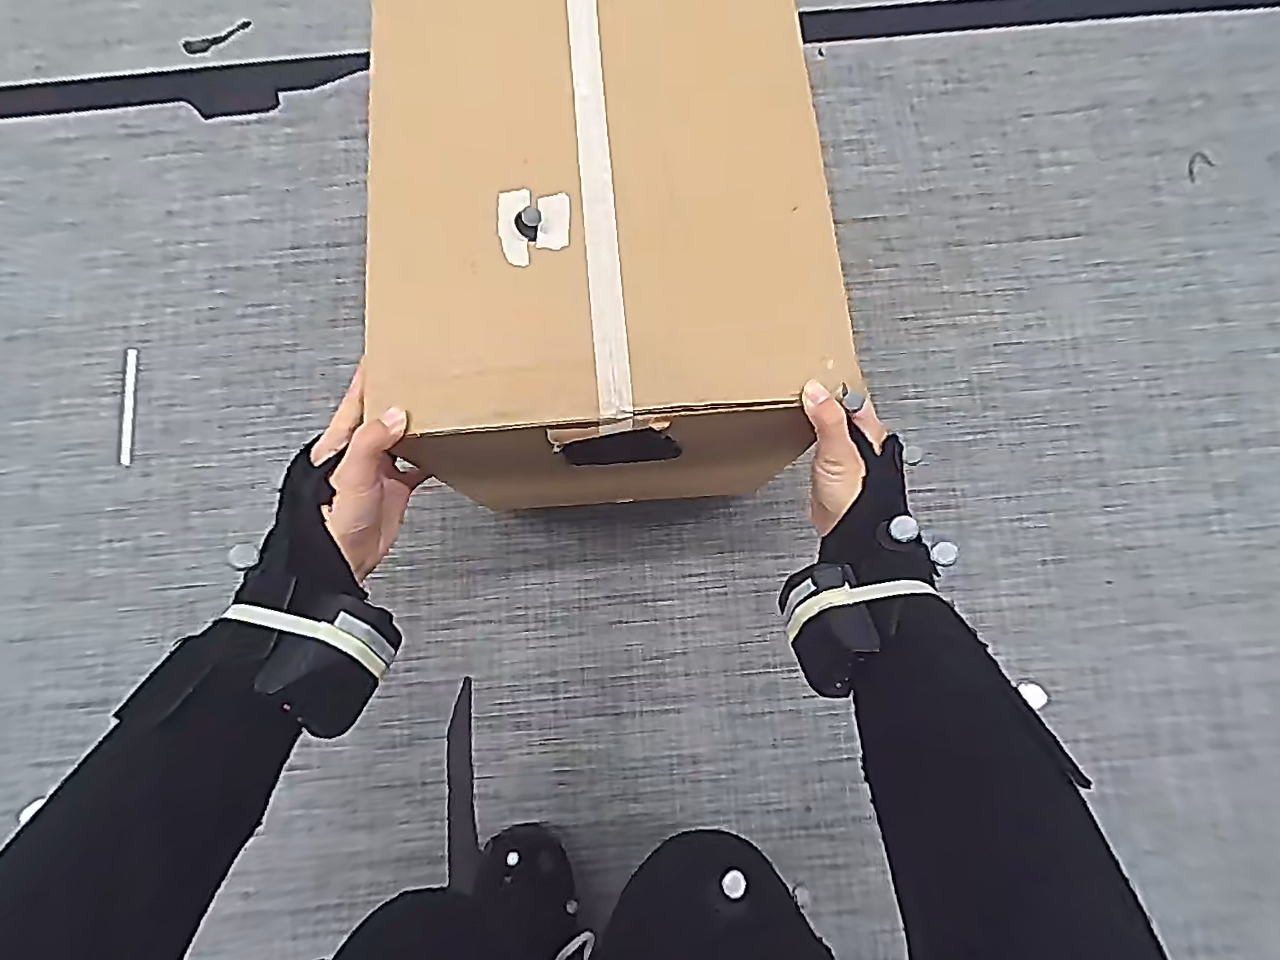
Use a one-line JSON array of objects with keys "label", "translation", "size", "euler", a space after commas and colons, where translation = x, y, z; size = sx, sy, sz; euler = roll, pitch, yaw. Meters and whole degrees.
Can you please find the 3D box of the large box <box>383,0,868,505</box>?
[{"label": "large box", "translation": [-0.027, -0.206, 0.529], "size": [0.320, 0.320, 0.408], "euler": [-6, 79, -1]}]
